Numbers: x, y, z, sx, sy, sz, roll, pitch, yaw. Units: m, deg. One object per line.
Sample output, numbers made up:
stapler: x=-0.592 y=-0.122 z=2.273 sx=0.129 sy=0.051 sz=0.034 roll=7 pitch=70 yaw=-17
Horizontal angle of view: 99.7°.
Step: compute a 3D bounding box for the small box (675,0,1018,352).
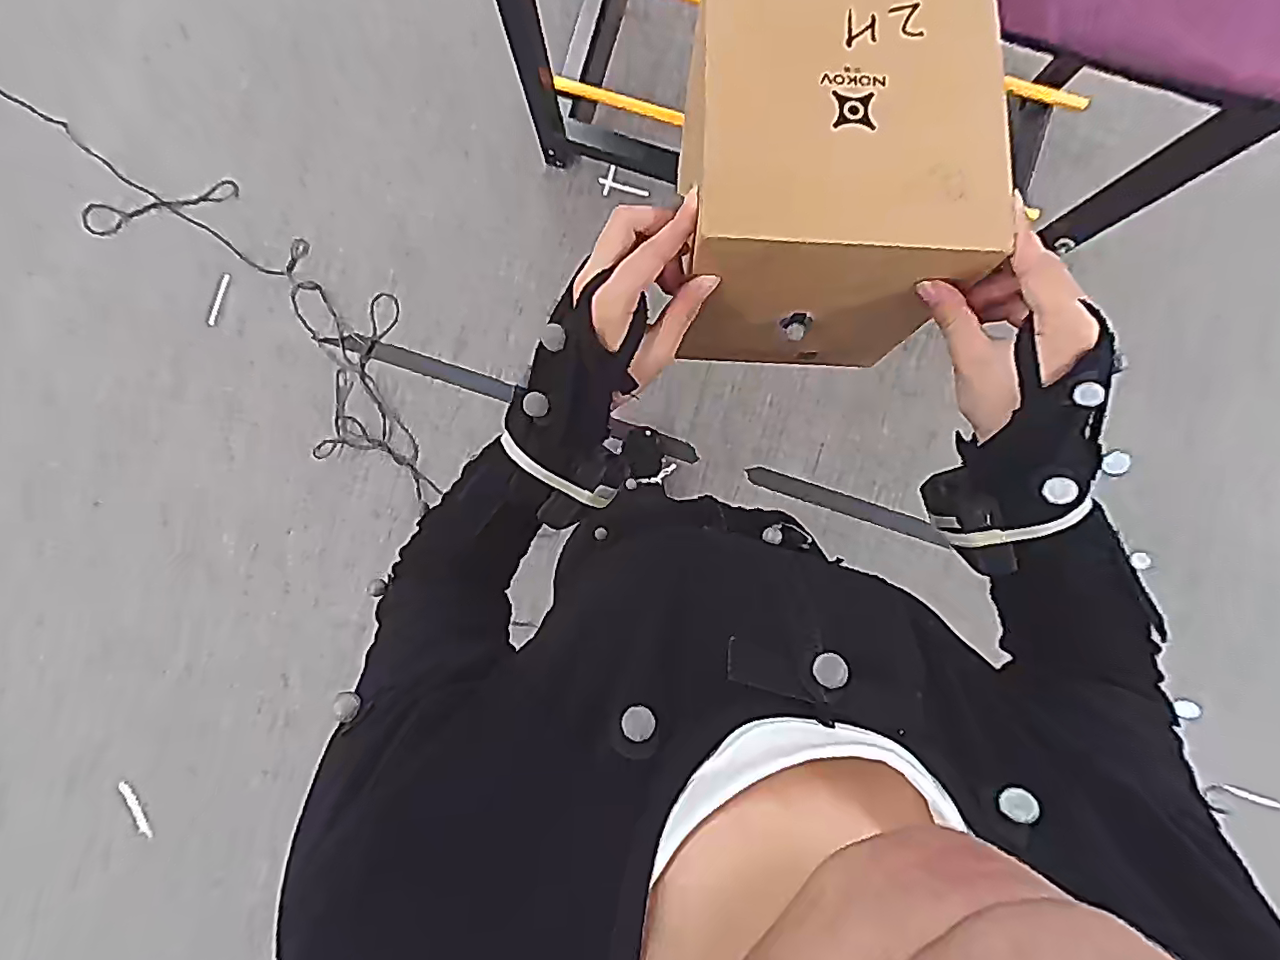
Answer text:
small box: x=0.115 y=-0.200 z=0.369 sx=0.168 sy=0.176 sz=0.179 roll=2 pitch=80 yaw=-2
